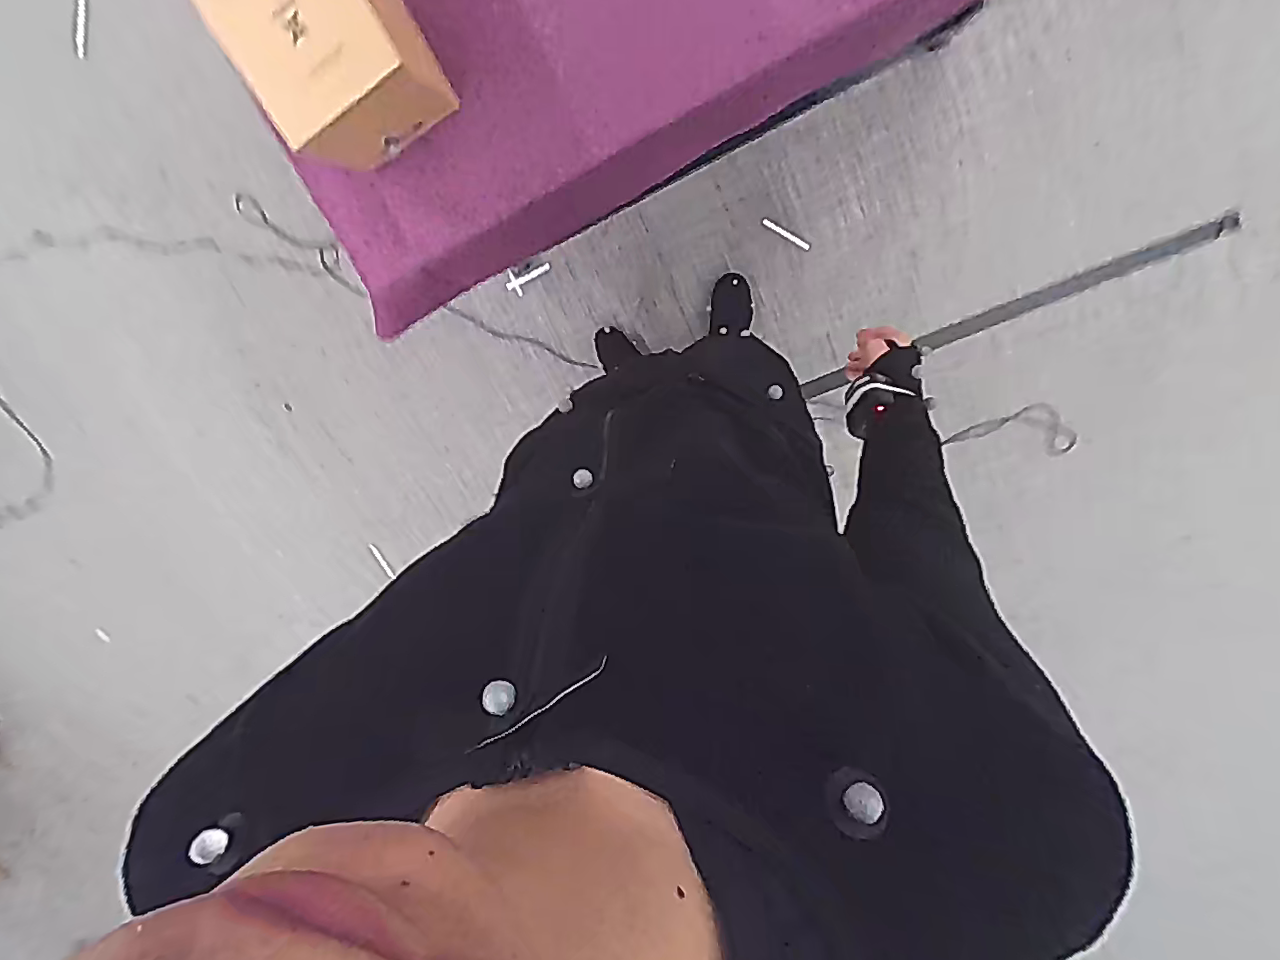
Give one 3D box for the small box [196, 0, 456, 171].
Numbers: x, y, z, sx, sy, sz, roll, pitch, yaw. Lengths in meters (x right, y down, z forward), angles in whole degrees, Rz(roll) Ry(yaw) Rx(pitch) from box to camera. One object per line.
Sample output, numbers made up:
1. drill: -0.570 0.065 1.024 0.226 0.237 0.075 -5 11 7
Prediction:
1. small box: -0.360 -0.511 0.652 0.168 0.176 0.179 -27 106 14
